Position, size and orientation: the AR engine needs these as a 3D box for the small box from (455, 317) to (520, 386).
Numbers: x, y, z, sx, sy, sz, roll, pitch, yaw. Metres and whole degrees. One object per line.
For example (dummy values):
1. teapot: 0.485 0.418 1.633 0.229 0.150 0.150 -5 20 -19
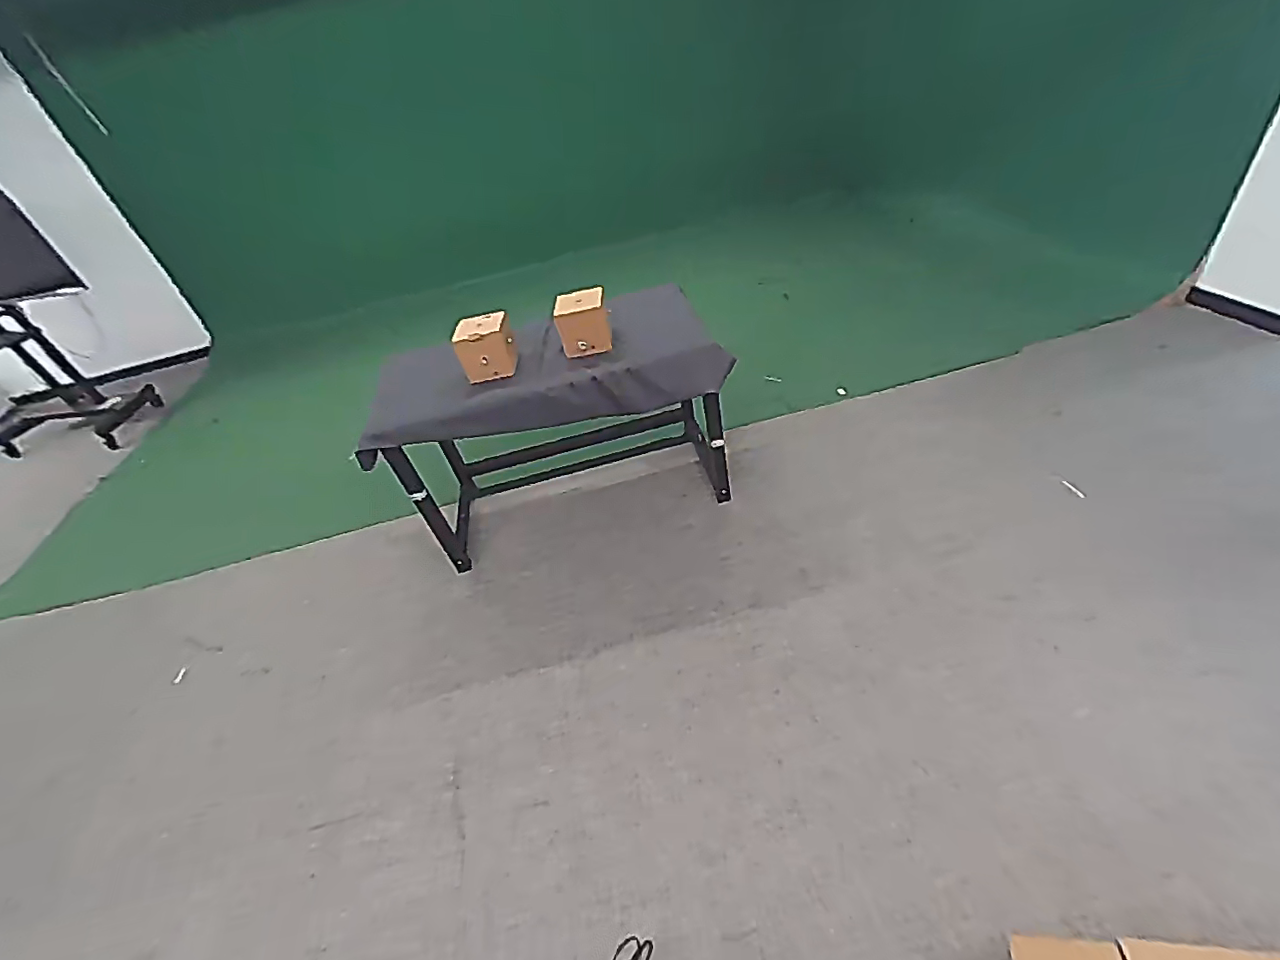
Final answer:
1. small box: -0.533 -0.450 1.920 0.168 0.176 0.179 -14 39 2

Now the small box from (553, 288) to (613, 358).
1. small box: -0.195 -0.556 1.915 0.168 0.176 0.179 -10 40 8
